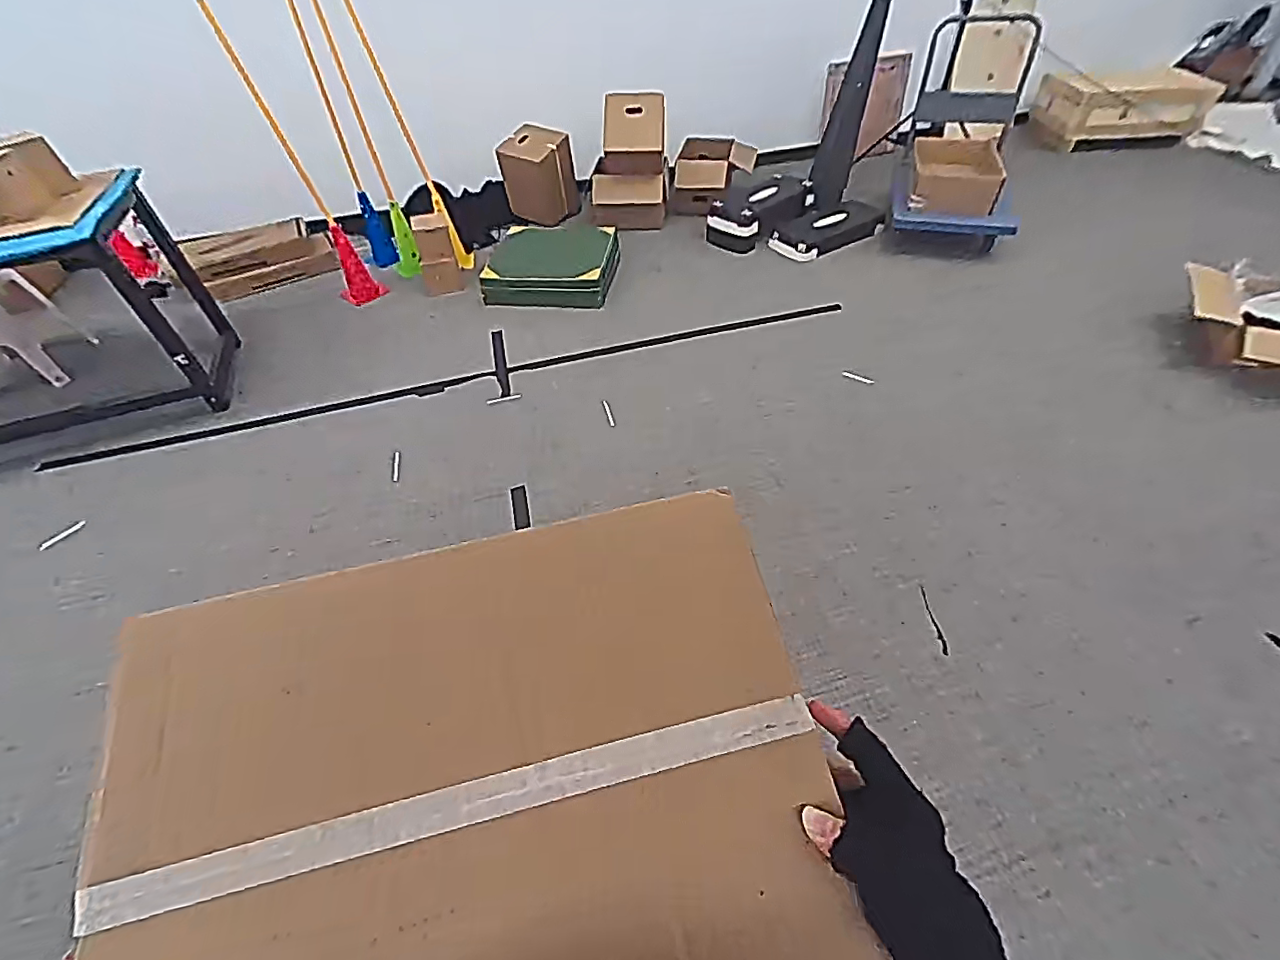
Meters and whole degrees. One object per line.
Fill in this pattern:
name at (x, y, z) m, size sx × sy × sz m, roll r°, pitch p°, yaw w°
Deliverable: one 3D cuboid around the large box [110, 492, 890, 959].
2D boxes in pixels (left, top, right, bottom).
large box at (-0.093, 0.250, 0.452) m, size 0.408 × 0.320 × 0.320 m, roll -12°, pitch 66°, yaw -6°
